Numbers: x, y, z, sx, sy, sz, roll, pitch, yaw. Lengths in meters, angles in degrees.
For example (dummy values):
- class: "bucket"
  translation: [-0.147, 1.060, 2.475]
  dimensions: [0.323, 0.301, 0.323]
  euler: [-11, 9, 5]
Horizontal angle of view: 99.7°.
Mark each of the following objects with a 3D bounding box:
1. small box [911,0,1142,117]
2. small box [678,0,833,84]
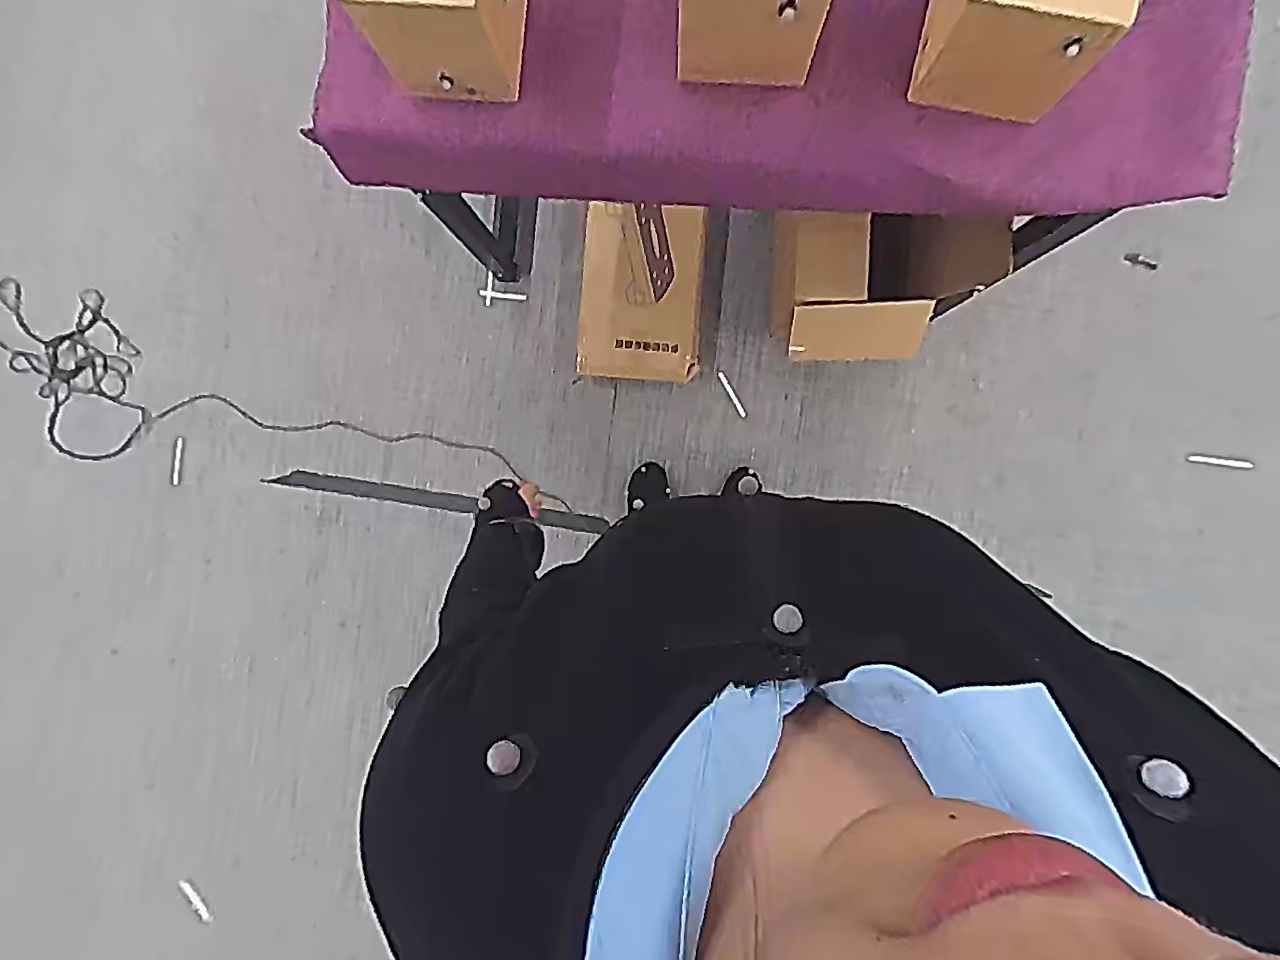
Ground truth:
- class: "small box"
  translation: [0.456, -0.574, 0.646]
  dimensions: [0.179, 0.176, 0.168]
  euler: [12, 92, 3]
- class: "small box"
  translation: [0.142, -0.628, 0.664]
  dimensions: [0.179, 0.176, 0.168]
  euler: [5, 89, 4]
